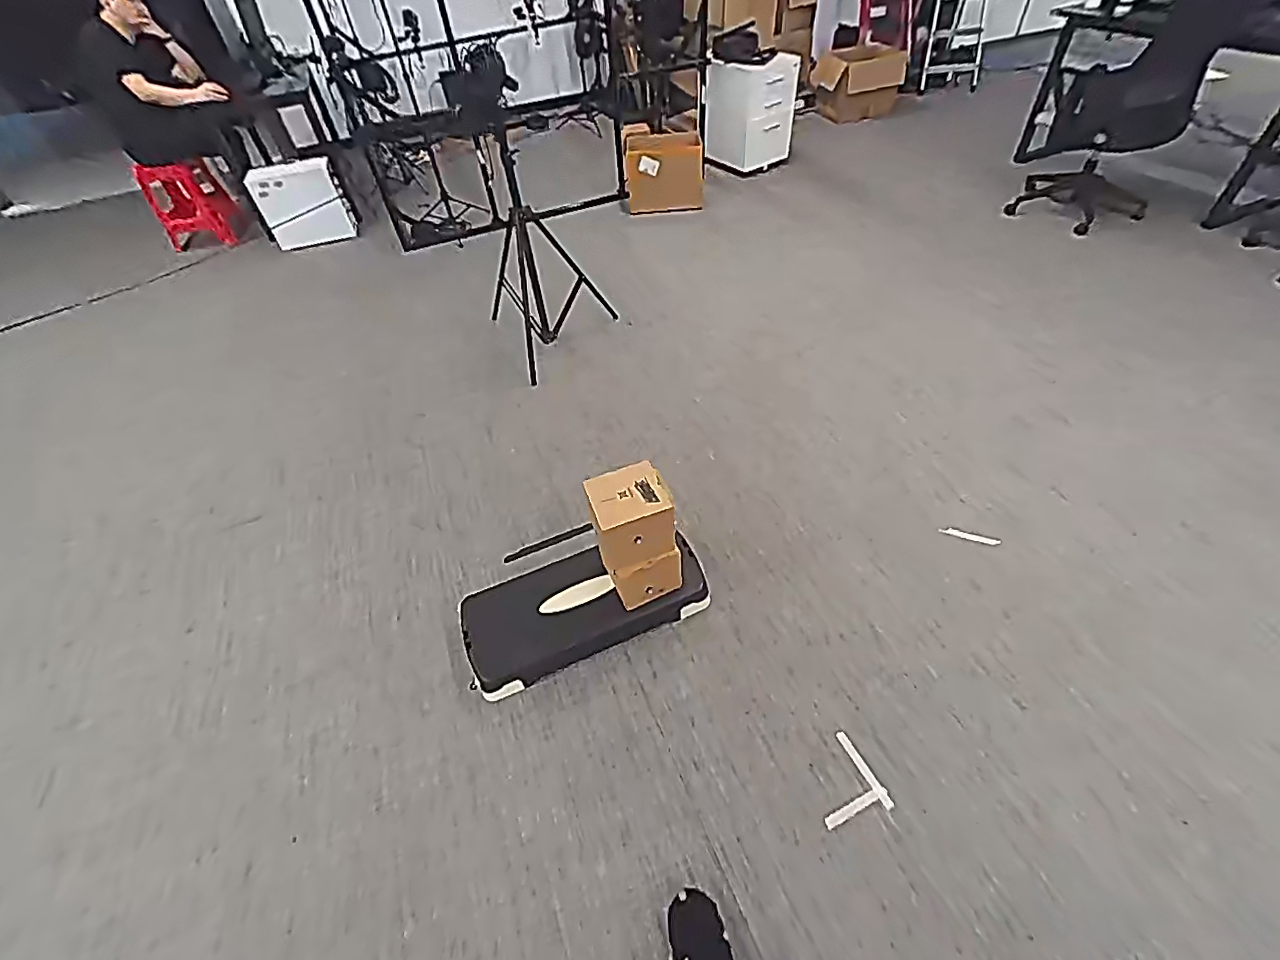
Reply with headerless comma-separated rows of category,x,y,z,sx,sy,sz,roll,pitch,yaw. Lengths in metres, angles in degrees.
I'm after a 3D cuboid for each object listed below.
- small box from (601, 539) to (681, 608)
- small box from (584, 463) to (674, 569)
small box,-0.003,0.209,1.444,0.168,0.176,0.179,-22,50,-14
small box,-0.024,0.091,1.330,0.179,0.176,0.168,-18,49,-10
